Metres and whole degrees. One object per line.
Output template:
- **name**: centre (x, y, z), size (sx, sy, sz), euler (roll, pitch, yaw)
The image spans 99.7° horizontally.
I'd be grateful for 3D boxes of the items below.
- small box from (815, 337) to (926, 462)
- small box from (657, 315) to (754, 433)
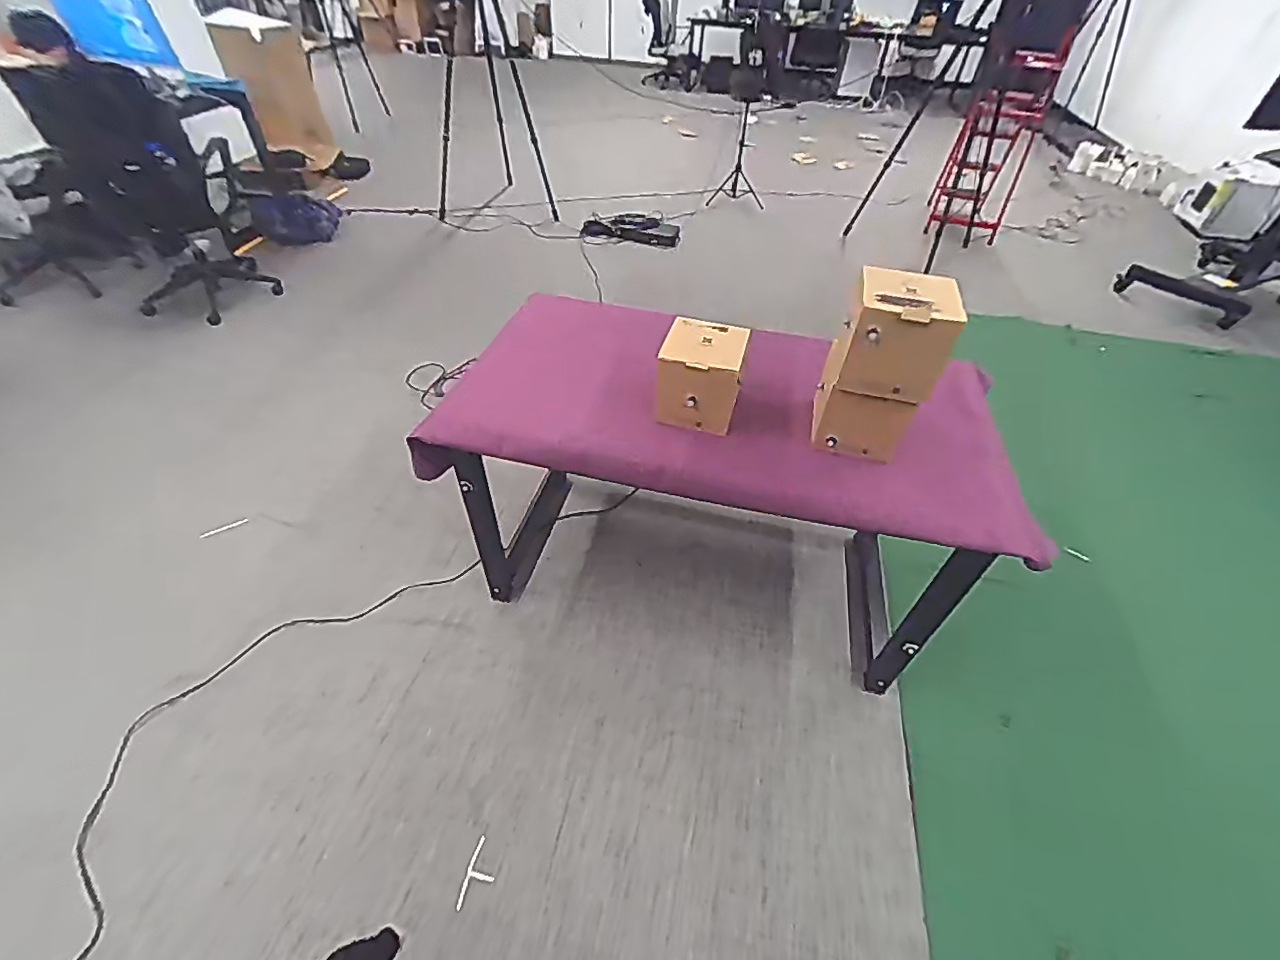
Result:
- **small box**: centre (0.470, -0.164, 1.119), size (0.168, 0.176, 0.179), euler (16, 47, 9)
- **small box**: centre (0.137, -0.226, 1.161), size (0.168, 0.176, 0.179), euler (14, 47, 10)
